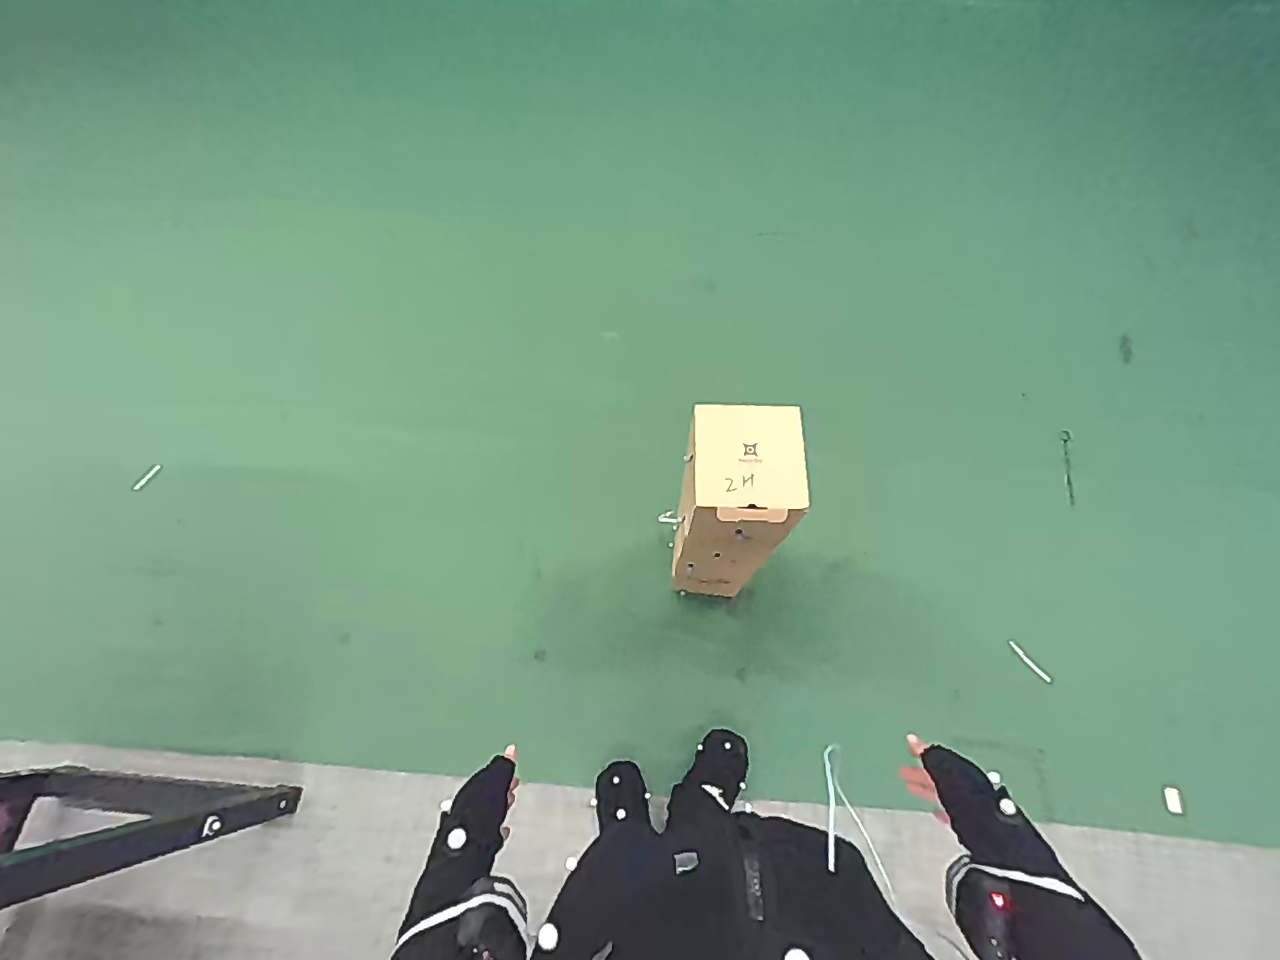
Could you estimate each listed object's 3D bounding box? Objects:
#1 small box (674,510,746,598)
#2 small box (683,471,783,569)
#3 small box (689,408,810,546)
[{"bbox_3d":[0.174,0.189,1.344,0.168,0.176,0.179,5,67,3],"label":"small box"},{"bbox_3d":[0.172,0.062,1.042,0.168,0.176,0.179,3,68,2],"label":"small box"},{"bbox_3d":[0.169,0.000,0.890,0.168,0.176,0.179,1,68,2],"label":"small box"}]
